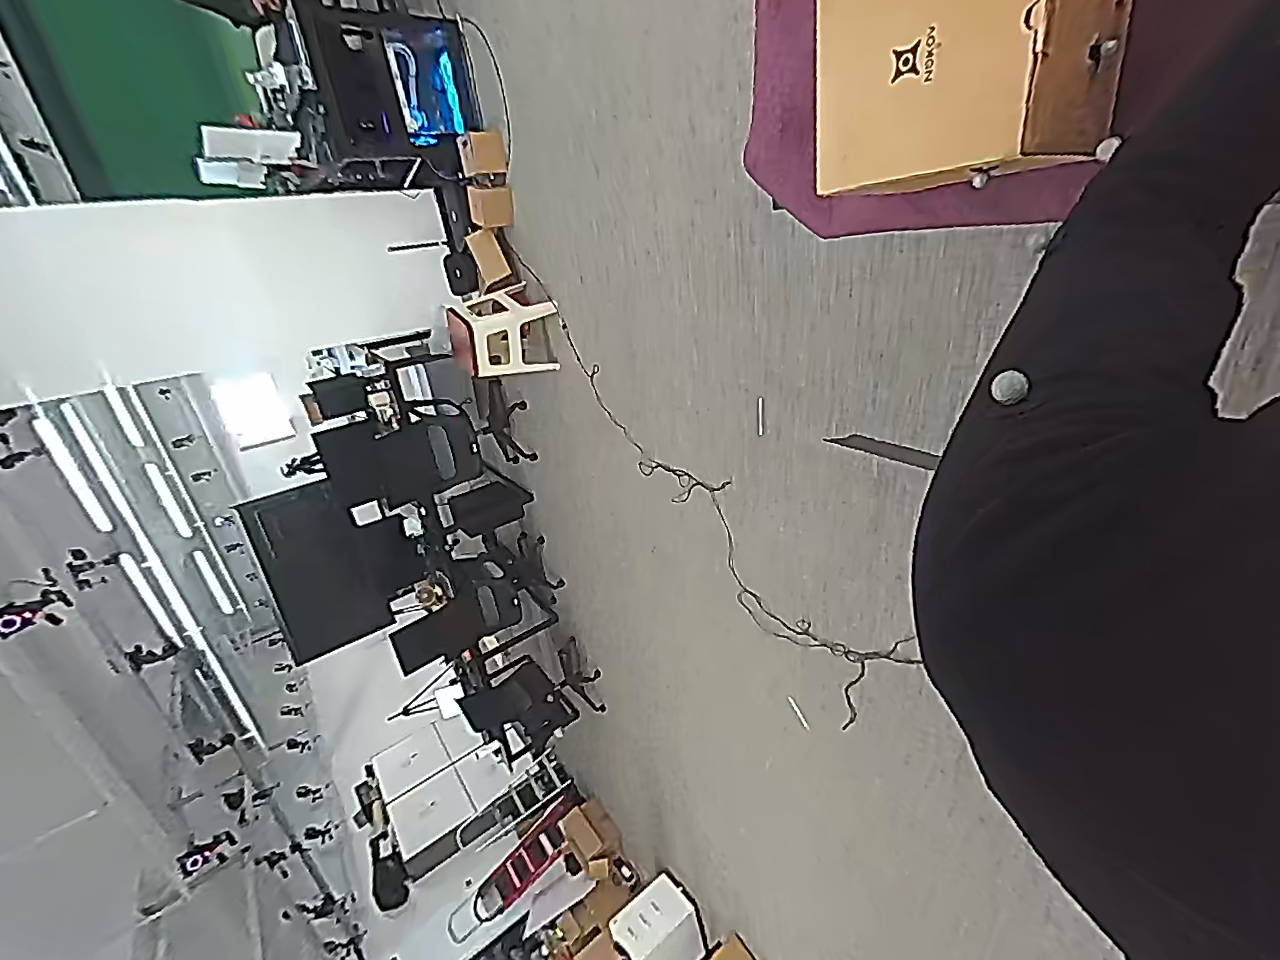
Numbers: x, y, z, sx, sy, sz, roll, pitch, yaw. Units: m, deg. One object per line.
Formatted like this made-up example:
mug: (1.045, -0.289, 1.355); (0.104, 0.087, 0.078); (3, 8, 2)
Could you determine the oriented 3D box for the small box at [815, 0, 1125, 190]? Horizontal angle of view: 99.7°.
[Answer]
small box: (0.274, -0.355, 0.464); (0.179, 0.176, 0.168); (20, 125, 50)
